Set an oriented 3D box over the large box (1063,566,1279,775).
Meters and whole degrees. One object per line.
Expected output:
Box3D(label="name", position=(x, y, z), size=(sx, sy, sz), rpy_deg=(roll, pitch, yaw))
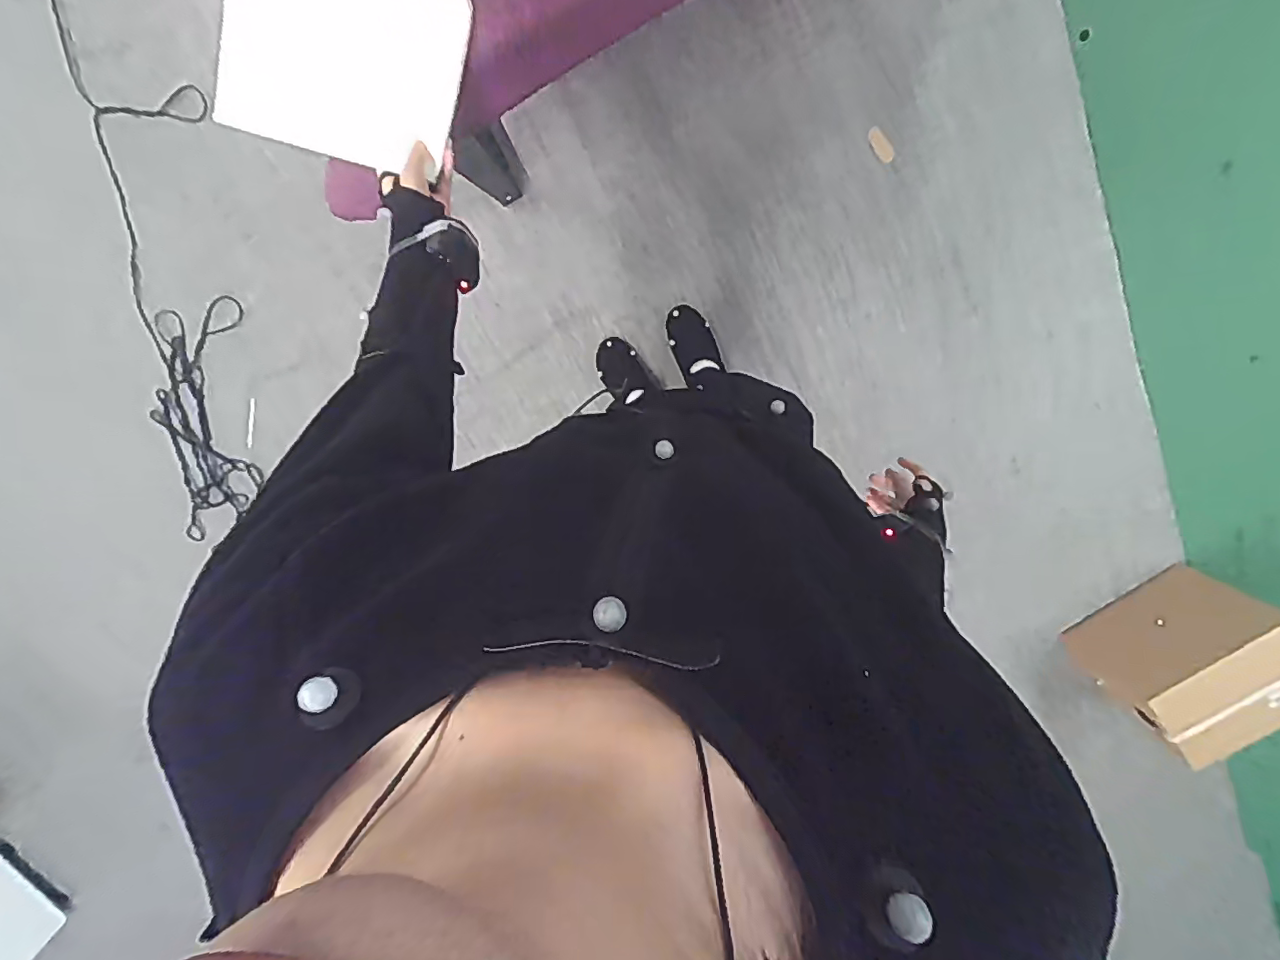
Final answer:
Box3D(label="large box", position=(1.560, 0.526, 1.540), size=(0.408, 0.320, 0.320), rpy_deg=(-40, 104, 10))
